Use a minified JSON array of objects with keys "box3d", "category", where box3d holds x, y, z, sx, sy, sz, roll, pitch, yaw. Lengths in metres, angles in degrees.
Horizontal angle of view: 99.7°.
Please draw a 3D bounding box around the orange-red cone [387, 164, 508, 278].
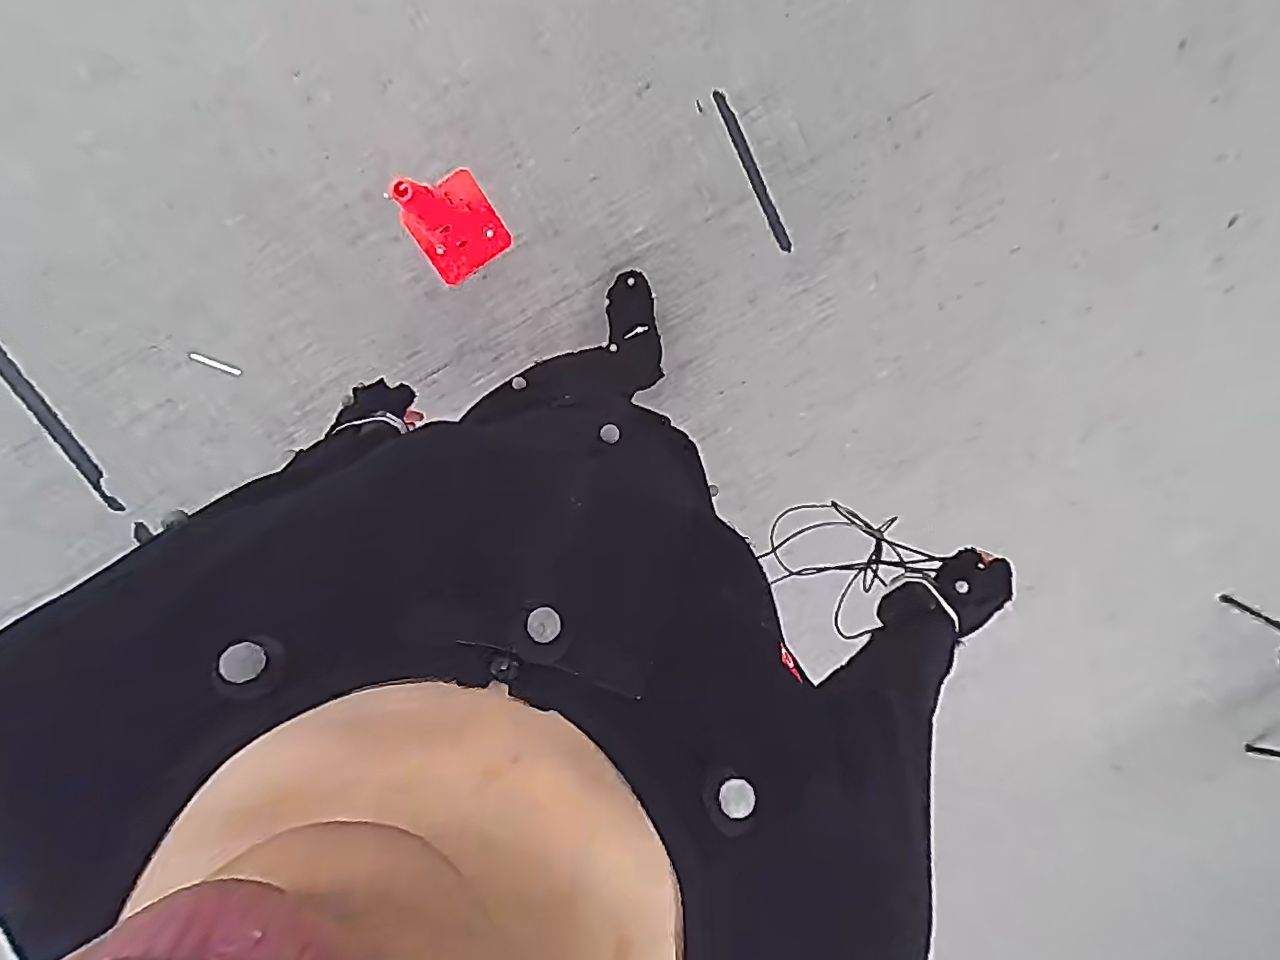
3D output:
[{"box3d":[-0.430,-0.566,1.107,0.198,0.360,0.199,-31,103,5],"category":"orange-red cone"}]
